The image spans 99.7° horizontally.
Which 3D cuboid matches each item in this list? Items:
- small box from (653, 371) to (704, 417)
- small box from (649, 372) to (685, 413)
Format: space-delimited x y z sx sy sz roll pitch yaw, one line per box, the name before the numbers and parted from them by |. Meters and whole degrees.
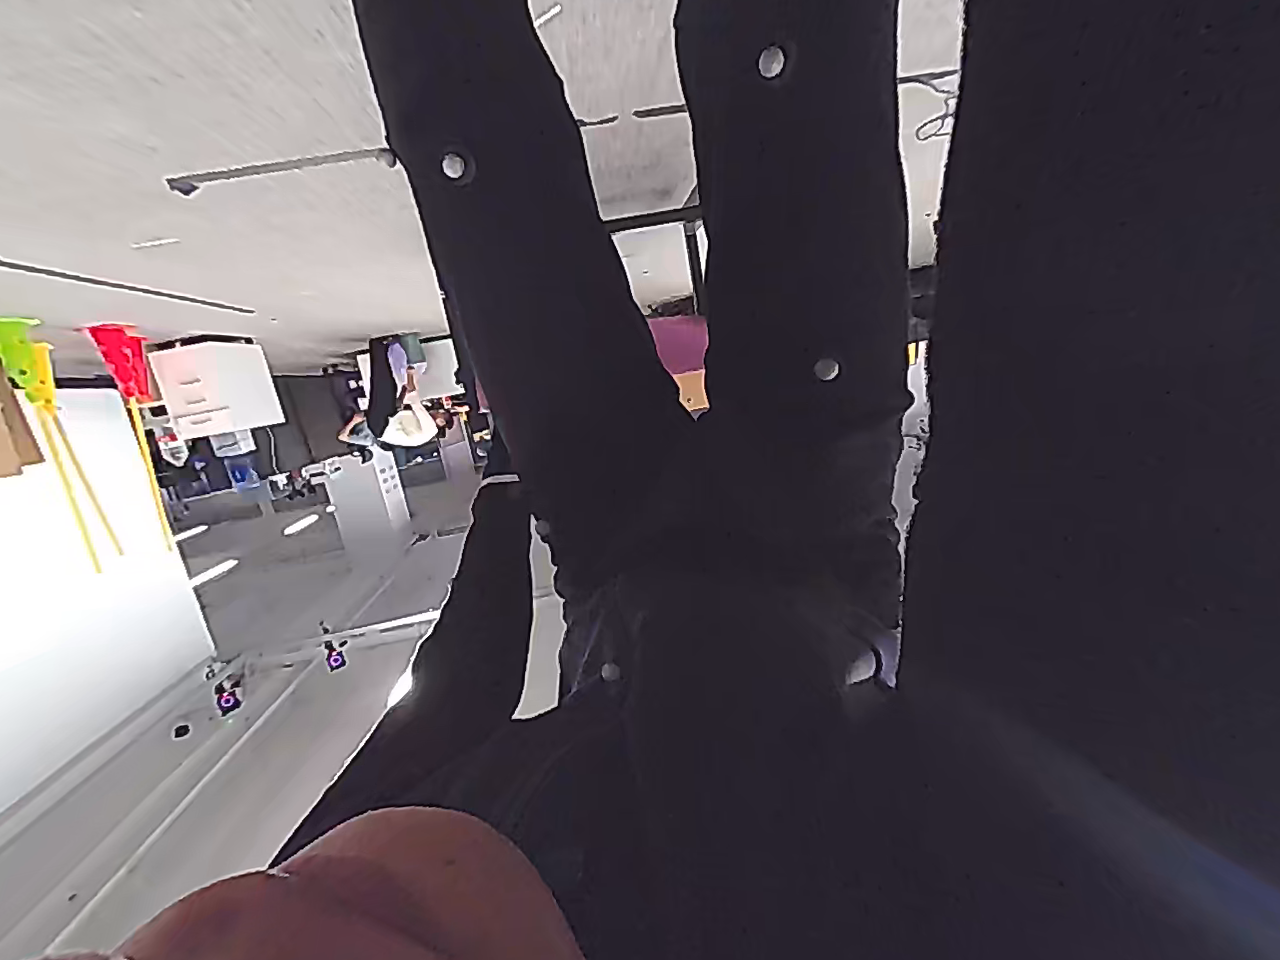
small box | 0.166 -0.382 2.378 0.179 0.176 0.168 -11 -169 -5
small box | 0.151 -0.427 2.615 0.179 0.176 0.168 -11 -169 -3
